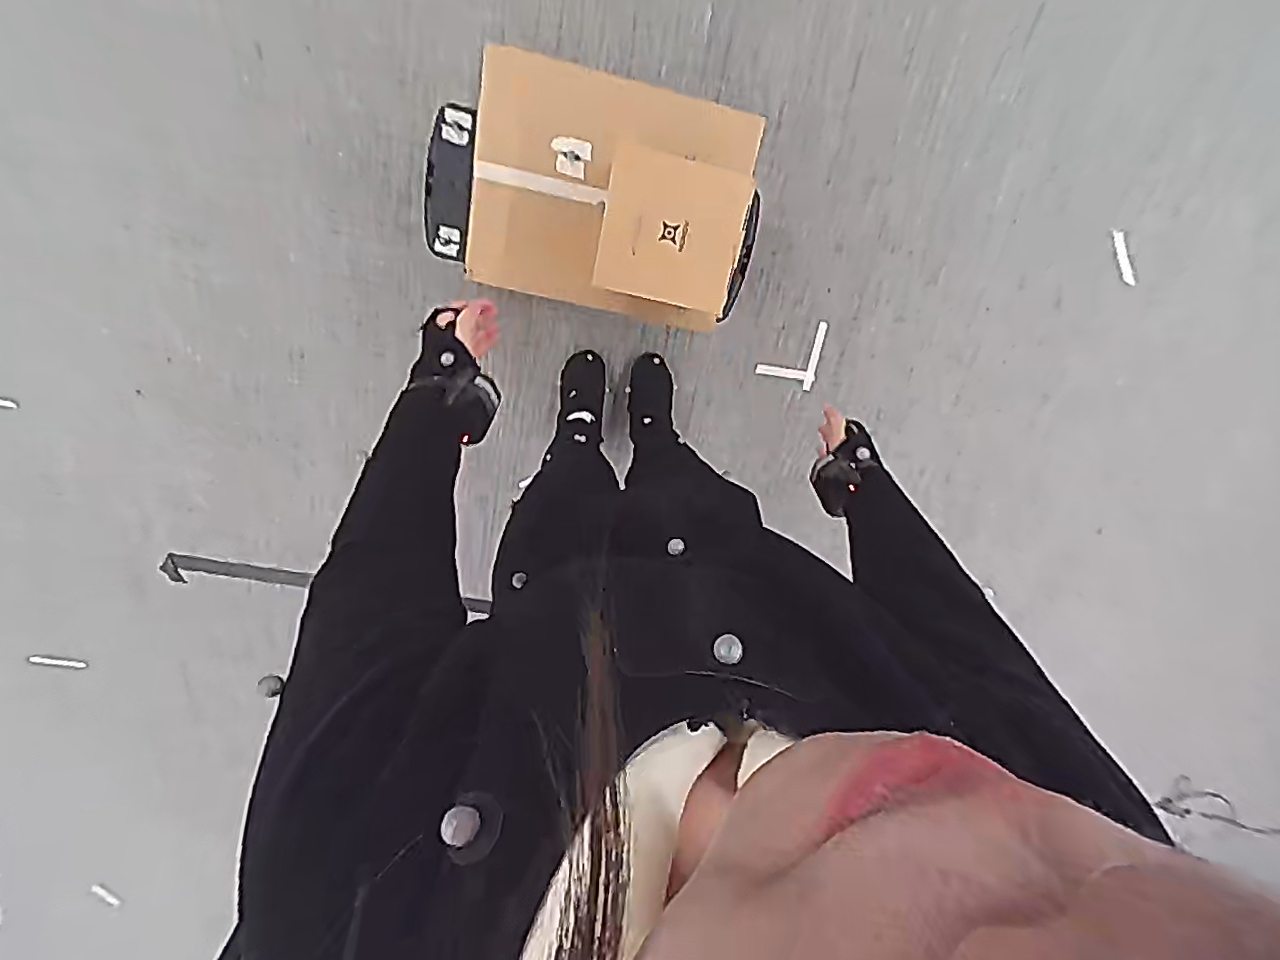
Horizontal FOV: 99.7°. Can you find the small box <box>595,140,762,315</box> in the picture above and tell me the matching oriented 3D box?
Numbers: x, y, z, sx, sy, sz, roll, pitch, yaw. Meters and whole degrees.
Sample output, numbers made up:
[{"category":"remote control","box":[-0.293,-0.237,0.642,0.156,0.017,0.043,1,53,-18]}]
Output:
[{"category":"small box","box":[0.041,-0.334,0.735,0.179,0.176,0.168,11,111,-7]}]

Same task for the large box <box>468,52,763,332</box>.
[{"category":"large box","box":[-0.047,-0.465,0.943,0.408,0.320,0.320,10,110,-6]}]

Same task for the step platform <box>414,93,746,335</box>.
[{"category":"step platform","box":[-0.116,-0.546,1.164,0.684,0.204,0.286,16,110,-8]}]
